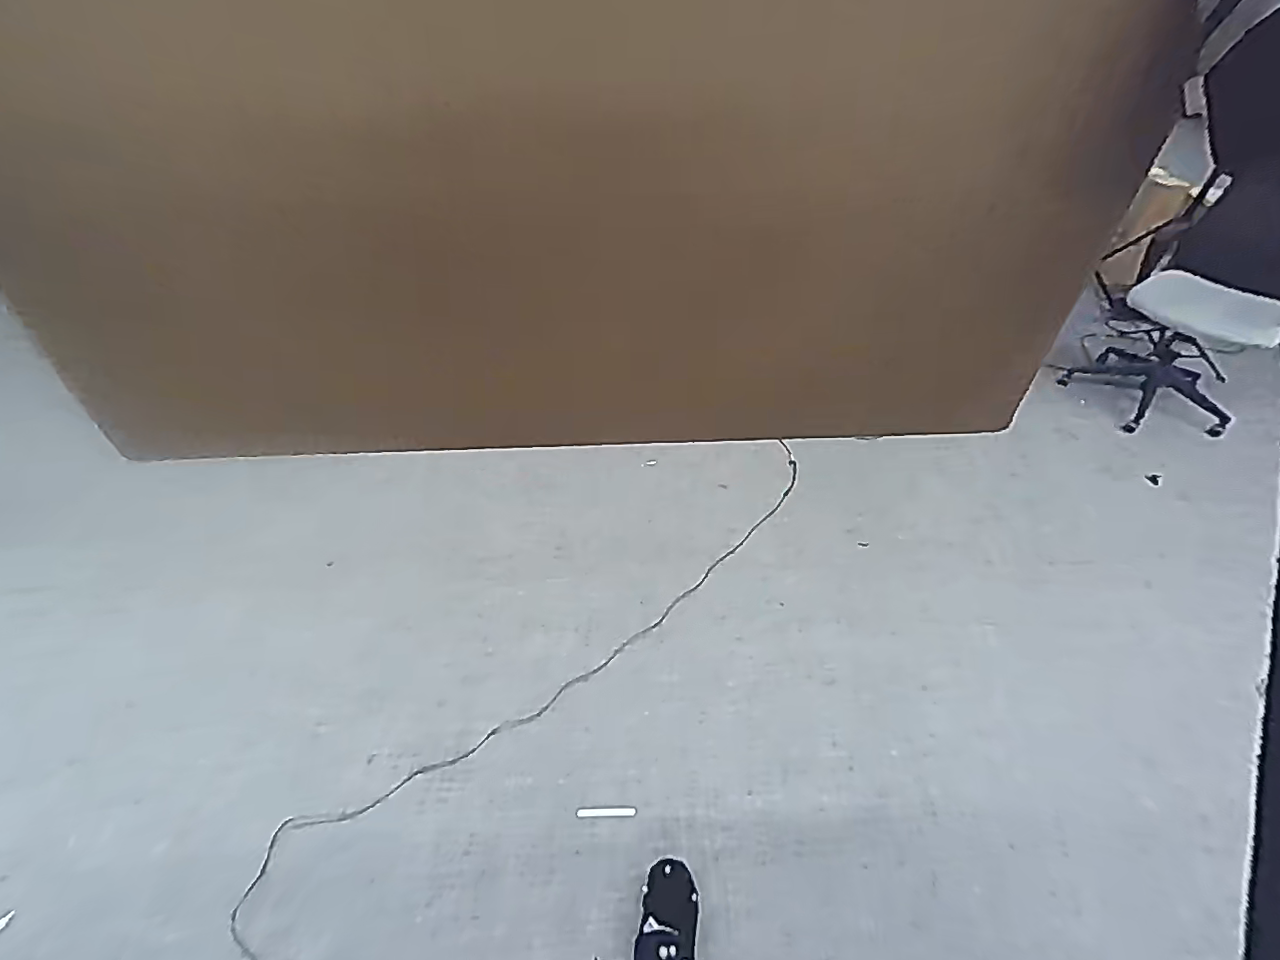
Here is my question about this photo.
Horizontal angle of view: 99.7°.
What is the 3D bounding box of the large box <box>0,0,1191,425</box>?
[{"bbox_3d":[-0.032,-0.239,0.271,0.408,0.320,0.320,-1,42,-4],"label":"large box"}]
